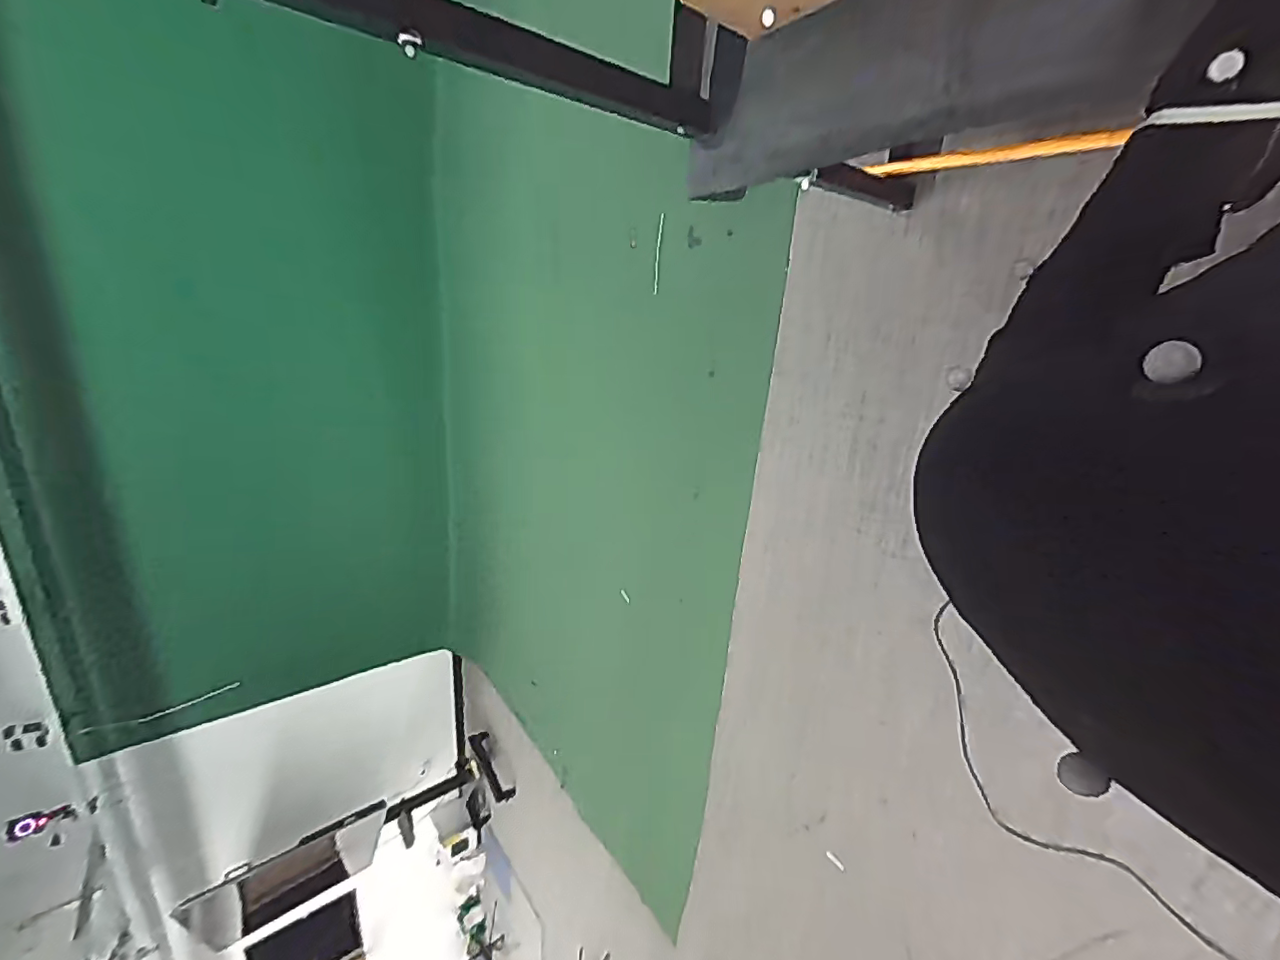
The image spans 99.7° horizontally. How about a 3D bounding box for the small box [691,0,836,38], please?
[{"bbox_3d":[0.182,-0.782,0.766,0.168,0.176,0.179,21,115,49],"label":"small box"}]
